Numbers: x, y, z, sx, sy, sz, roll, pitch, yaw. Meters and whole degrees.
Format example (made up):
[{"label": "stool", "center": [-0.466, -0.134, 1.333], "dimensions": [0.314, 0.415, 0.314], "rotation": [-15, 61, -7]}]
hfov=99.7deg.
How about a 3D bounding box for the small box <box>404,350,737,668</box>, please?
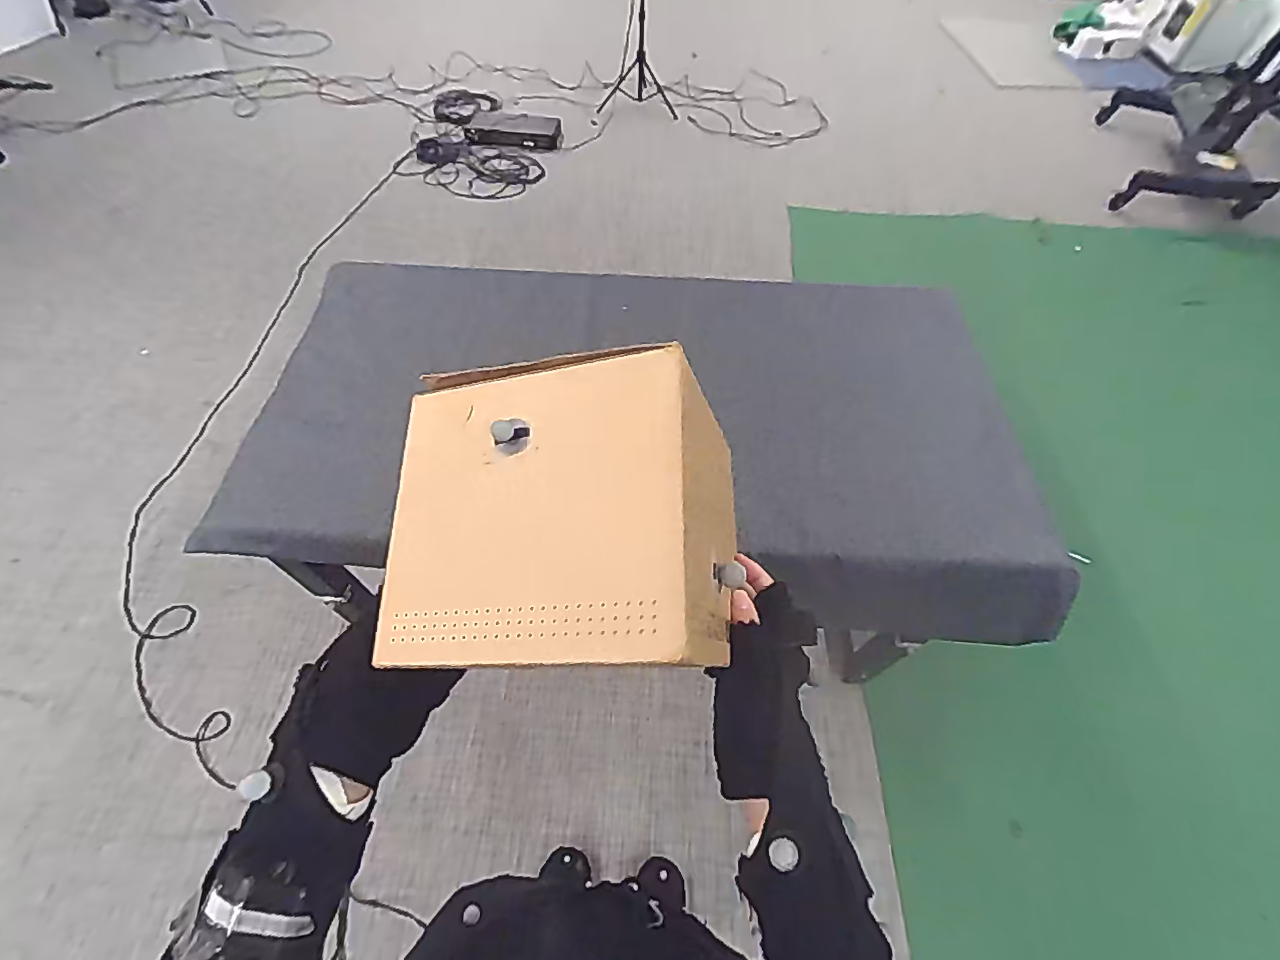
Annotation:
[{"label": "small box", "center": [-0.036, 0.038, 0.379], "dimensions": [0.179, 0.168, 0.176], "rotation": [-7, 69, 18]}]
